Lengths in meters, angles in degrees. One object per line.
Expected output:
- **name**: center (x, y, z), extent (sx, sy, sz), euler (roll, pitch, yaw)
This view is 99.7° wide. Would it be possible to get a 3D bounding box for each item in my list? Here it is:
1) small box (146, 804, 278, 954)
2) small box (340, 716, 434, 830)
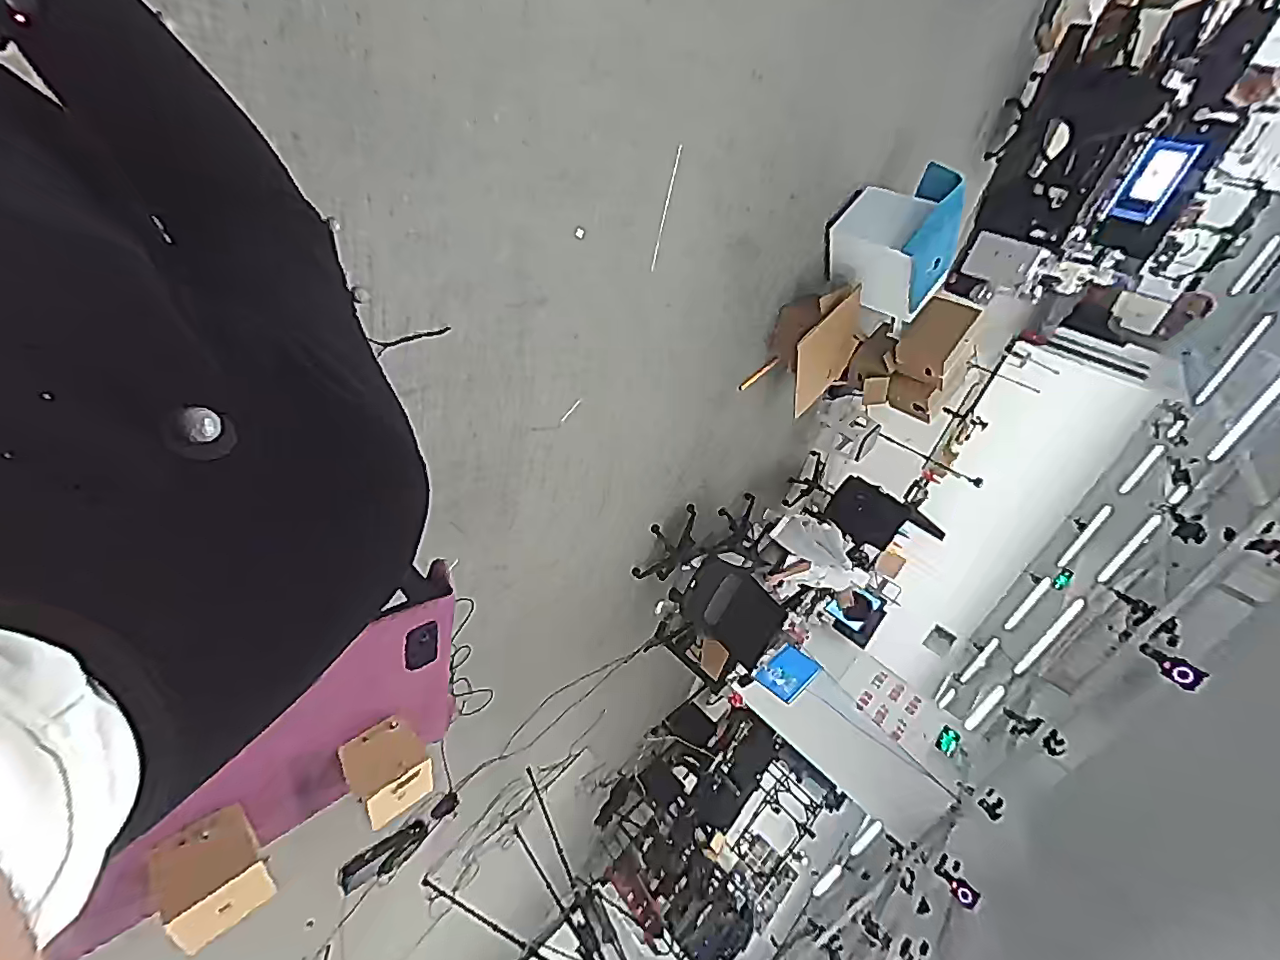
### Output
- **small box**: center (-0.912, 0.844, 1.158), extent (0.168, 0.176, 0.179), euler (-25, 138, -42)
- **small box**: center (-0.662, 0.756, 1.417), extent (0.168, 0.176, 0.179), euler (-24, 139, -41)
